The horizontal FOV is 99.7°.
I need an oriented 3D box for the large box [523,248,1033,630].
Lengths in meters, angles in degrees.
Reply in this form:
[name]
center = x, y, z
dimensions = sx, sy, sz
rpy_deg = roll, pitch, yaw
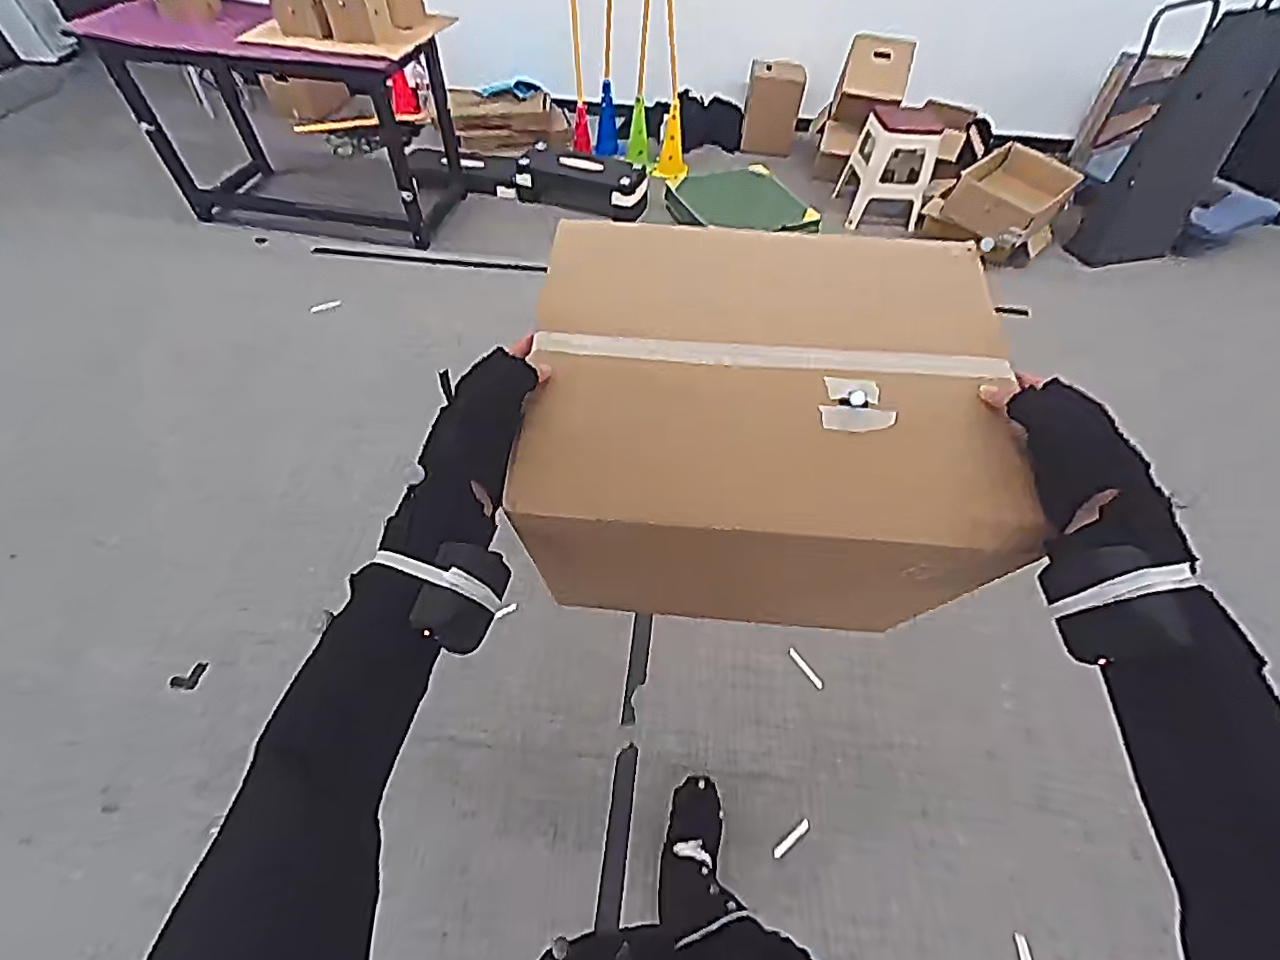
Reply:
[large box]
center = 0.112, -0.025, 0.615
dimensions = 0.408, 0.320, 0.320
rpy_deg = 4, 64, 2
